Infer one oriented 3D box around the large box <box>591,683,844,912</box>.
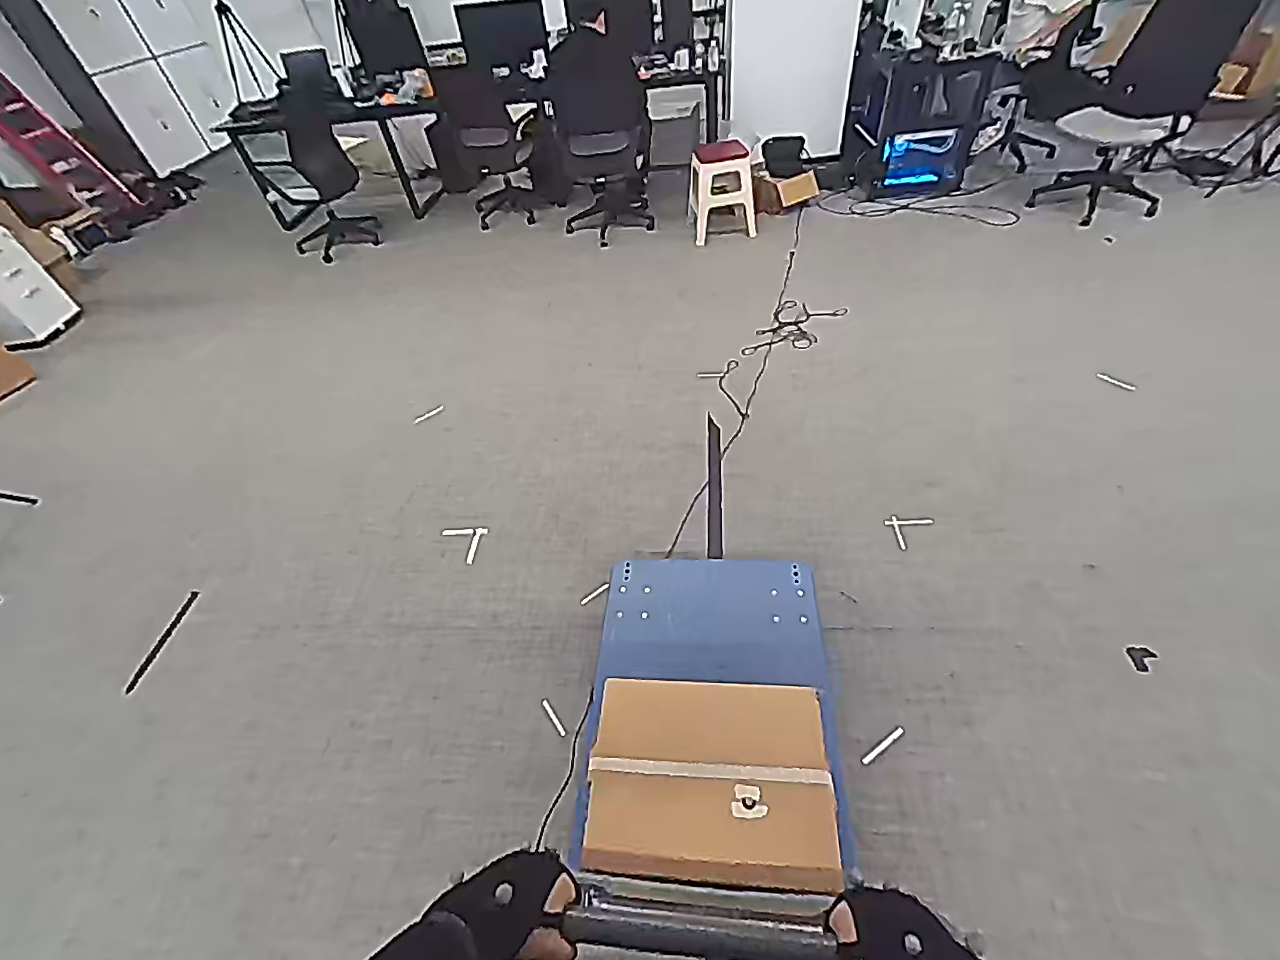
[{"bbox_3d":[0.138,0.614,1.051,0.408,0.320,0.320,0,47,7],"label":"large box"}]
